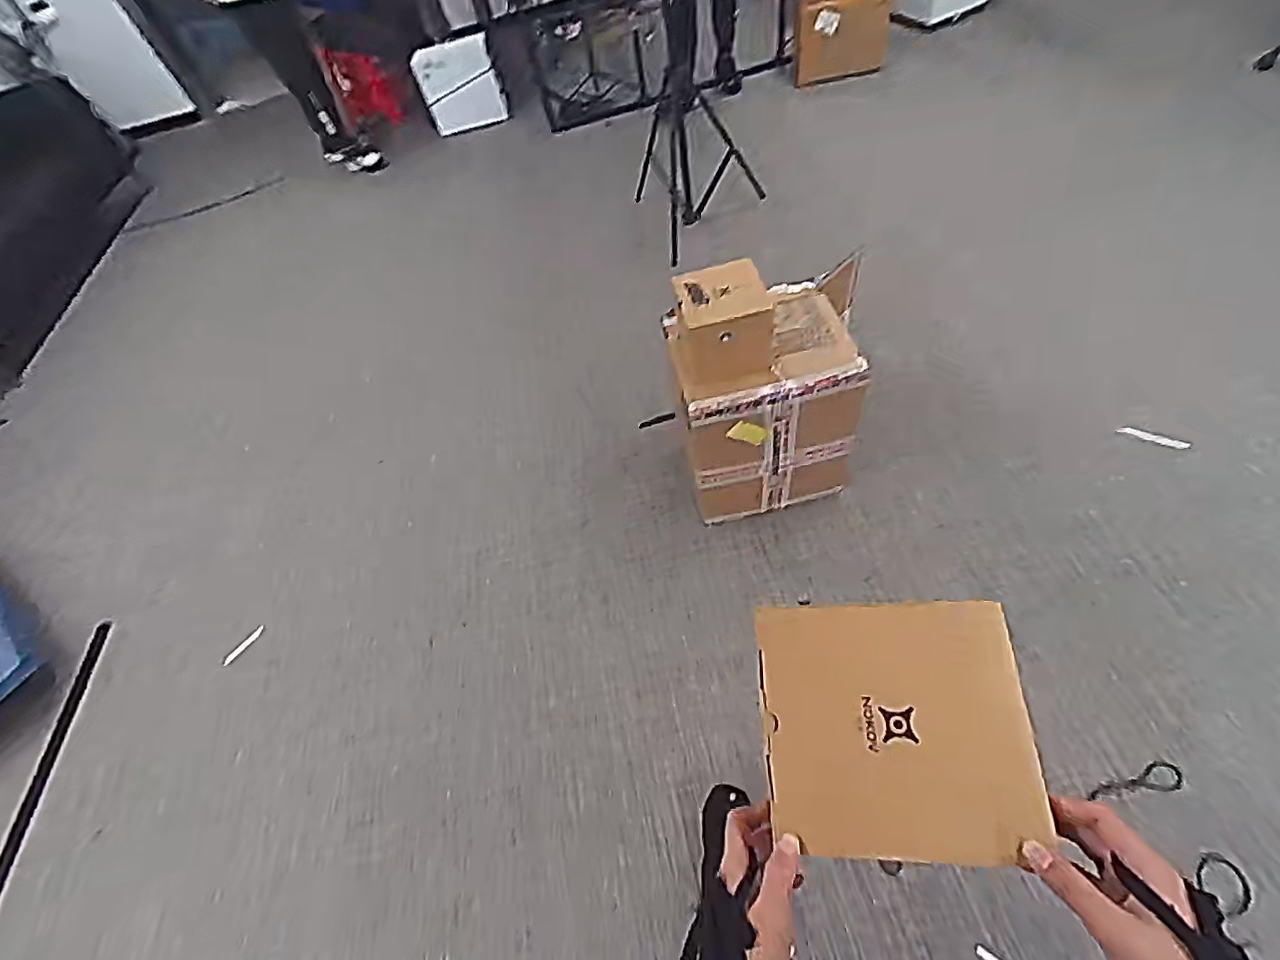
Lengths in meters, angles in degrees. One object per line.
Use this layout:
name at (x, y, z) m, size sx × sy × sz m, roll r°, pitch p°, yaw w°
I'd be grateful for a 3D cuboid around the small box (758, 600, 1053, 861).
small box at (0.194, 0.194, 0.455) m, size 0.179 × 0.176 × 0.168 m, roll -5°, pitch 69°, yaw 13°

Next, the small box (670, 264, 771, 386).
small box at (0.174, -0.325, 1.160) m, size 0.179 × 0.176 × 0.168 m, roll -13°, pitch 56°, yaw 3°
